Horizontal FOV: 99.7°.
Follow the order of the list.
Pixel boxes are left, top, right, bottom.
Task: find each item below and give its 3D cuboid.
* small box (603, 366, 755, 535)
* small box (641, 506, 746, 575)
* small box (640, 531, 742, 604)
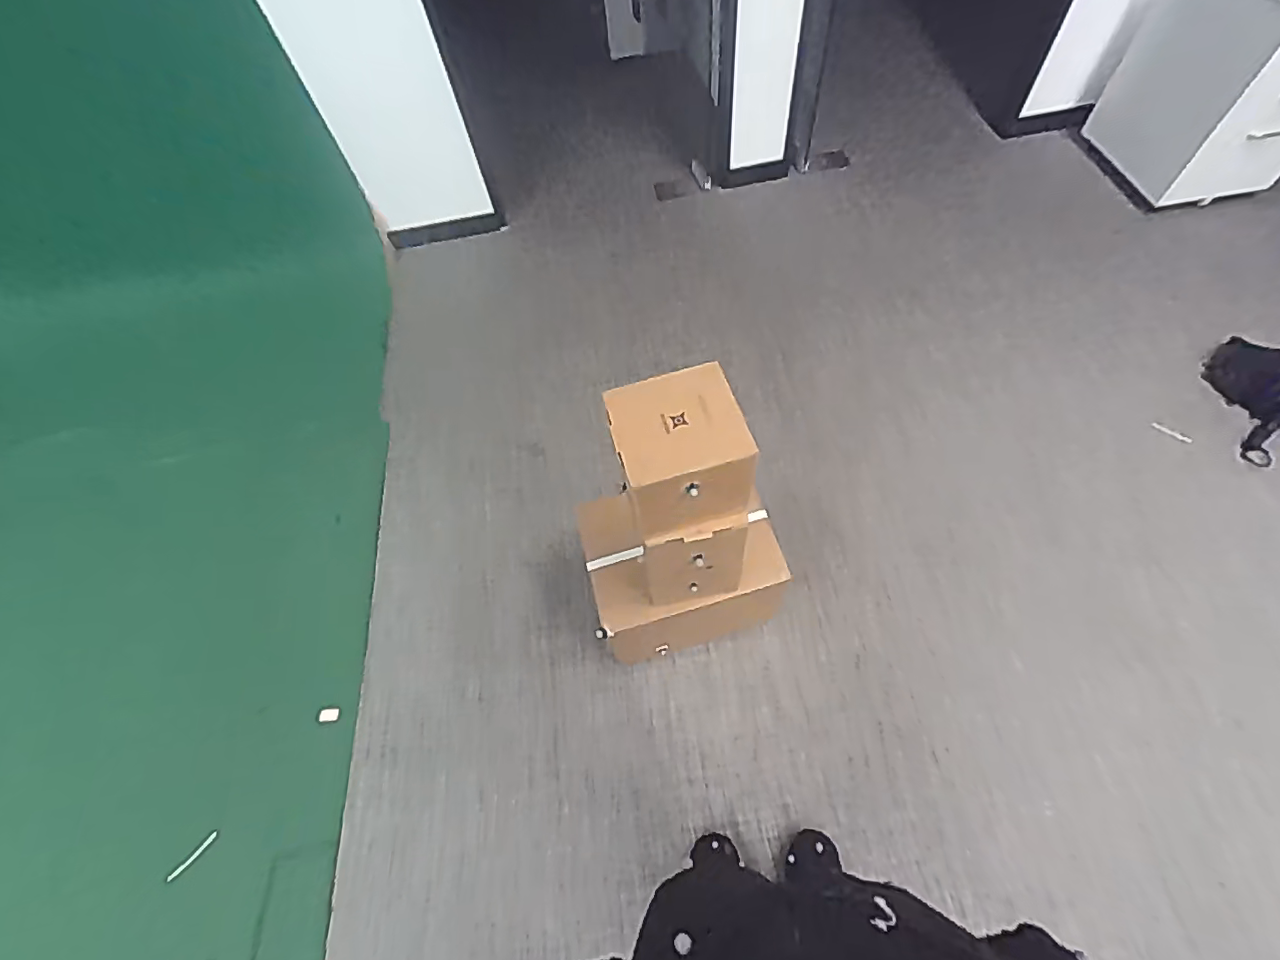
[{"bbox_3d":[0.056,-0.037,0.810,0.179,0.176,0.168,-16,61,-4],"label":"small box"},{"bbox_3d":[0.080,0.054,0.944,0.168,0.176,0.179,-11,60,0],"label":"small box"},{"bbox_3d":[0.096,0.135,1.085,0.179,0.176,0.168,-11,60,0],"label":"small box"}]
